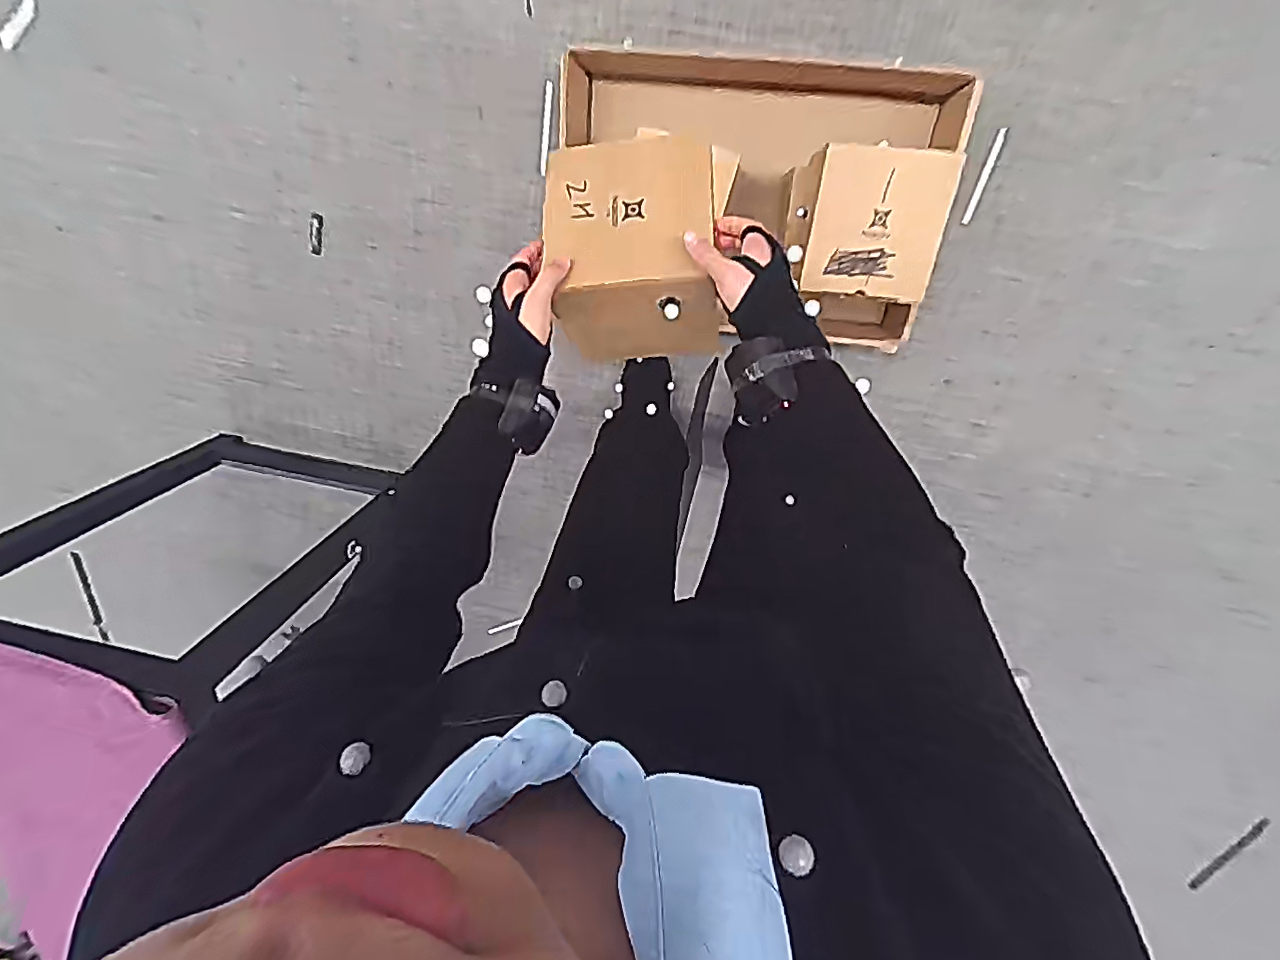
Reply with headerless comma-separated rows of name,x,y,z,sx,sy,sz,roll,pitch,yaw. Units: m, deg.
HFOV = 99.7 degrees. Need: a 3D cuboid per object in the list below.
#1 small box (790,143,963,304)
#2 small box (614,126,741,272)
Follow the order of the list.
small box,0.314,-0.358,0.764,0.168,0.176,0.179,8,116,5
small box,0.063,-0.477,0.931,0.168,0.176,0.179,16,117,-1
